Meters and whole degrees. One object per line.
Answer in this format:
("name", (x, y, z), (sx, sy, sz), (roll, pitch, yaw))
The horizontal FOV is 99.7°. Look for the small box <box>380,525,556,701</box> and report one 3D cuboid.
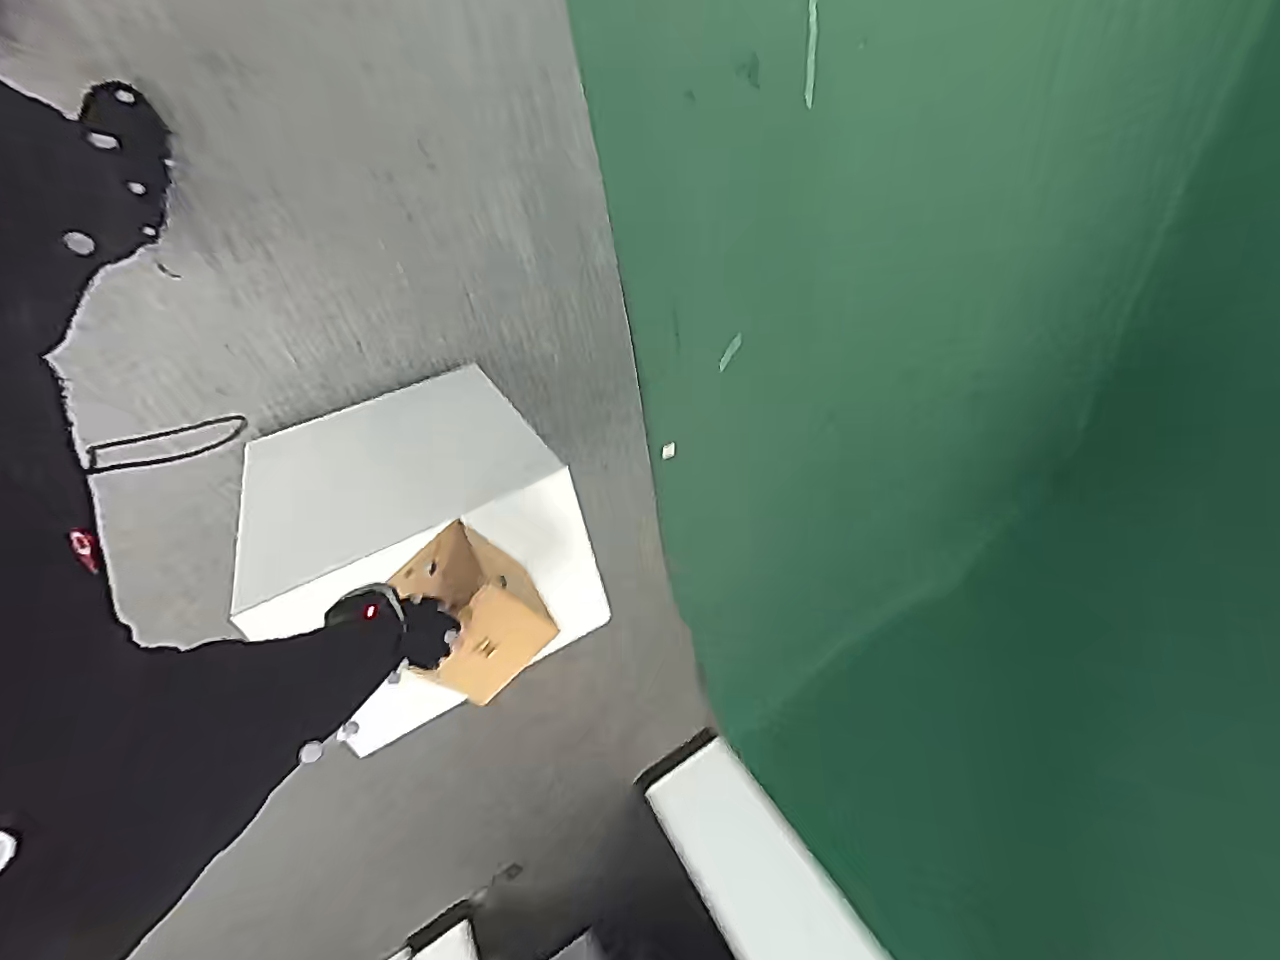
("small box", (-0.264, 0.198, 0.829), (0.168, 0.176, 0.179), (-43, 134, -3))
